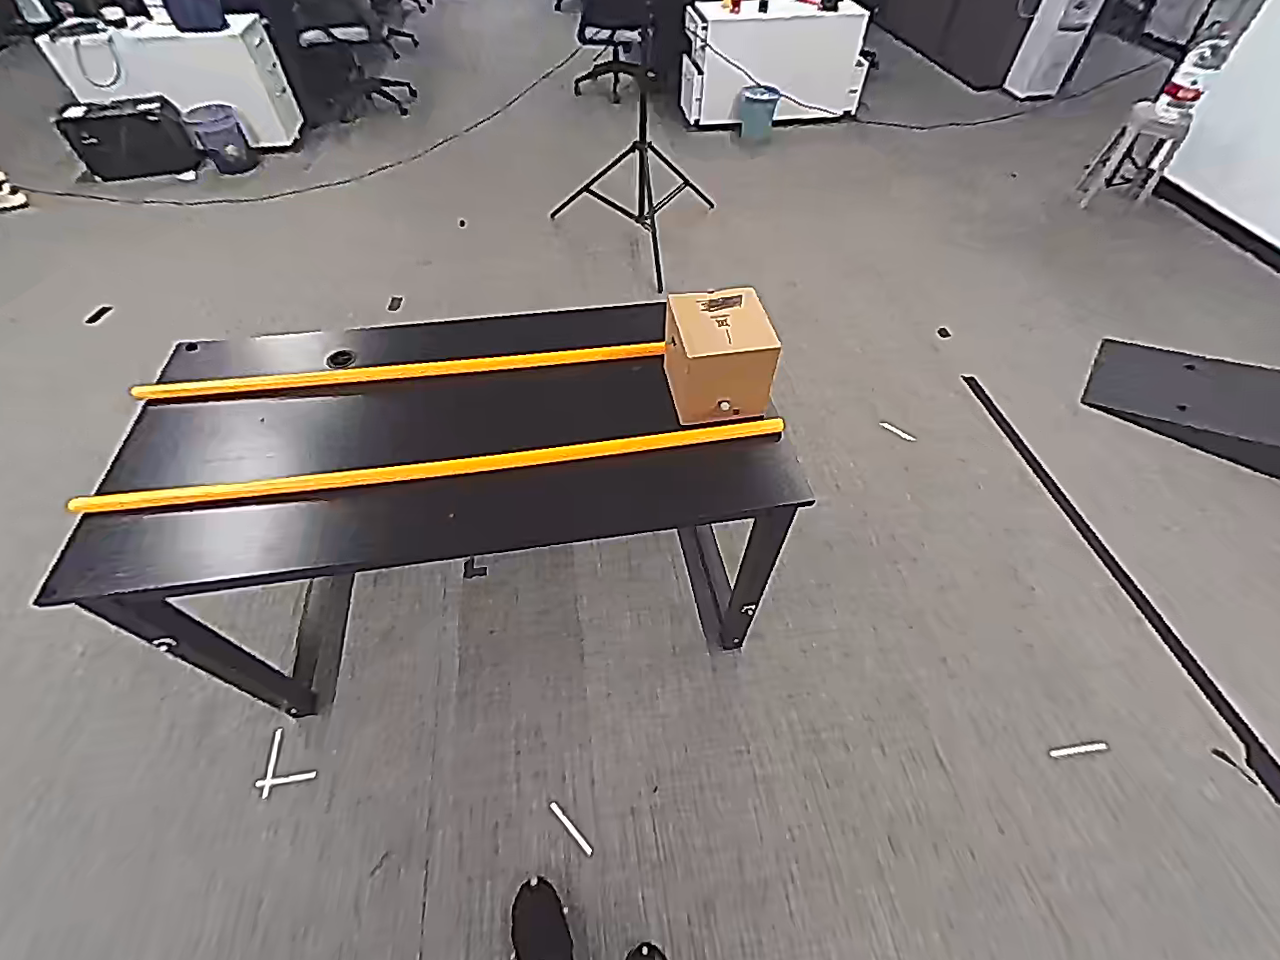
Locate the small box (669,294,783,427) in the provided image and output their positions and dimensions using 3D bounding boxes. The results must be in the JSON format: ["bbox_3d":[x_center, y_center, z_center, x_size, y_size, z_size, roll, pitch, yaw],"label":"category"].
[{"bbox_3d":[0.150,-0.225,1.022,0.168,0.176,0.179,-8,53,-5],"label":"small box"}]
